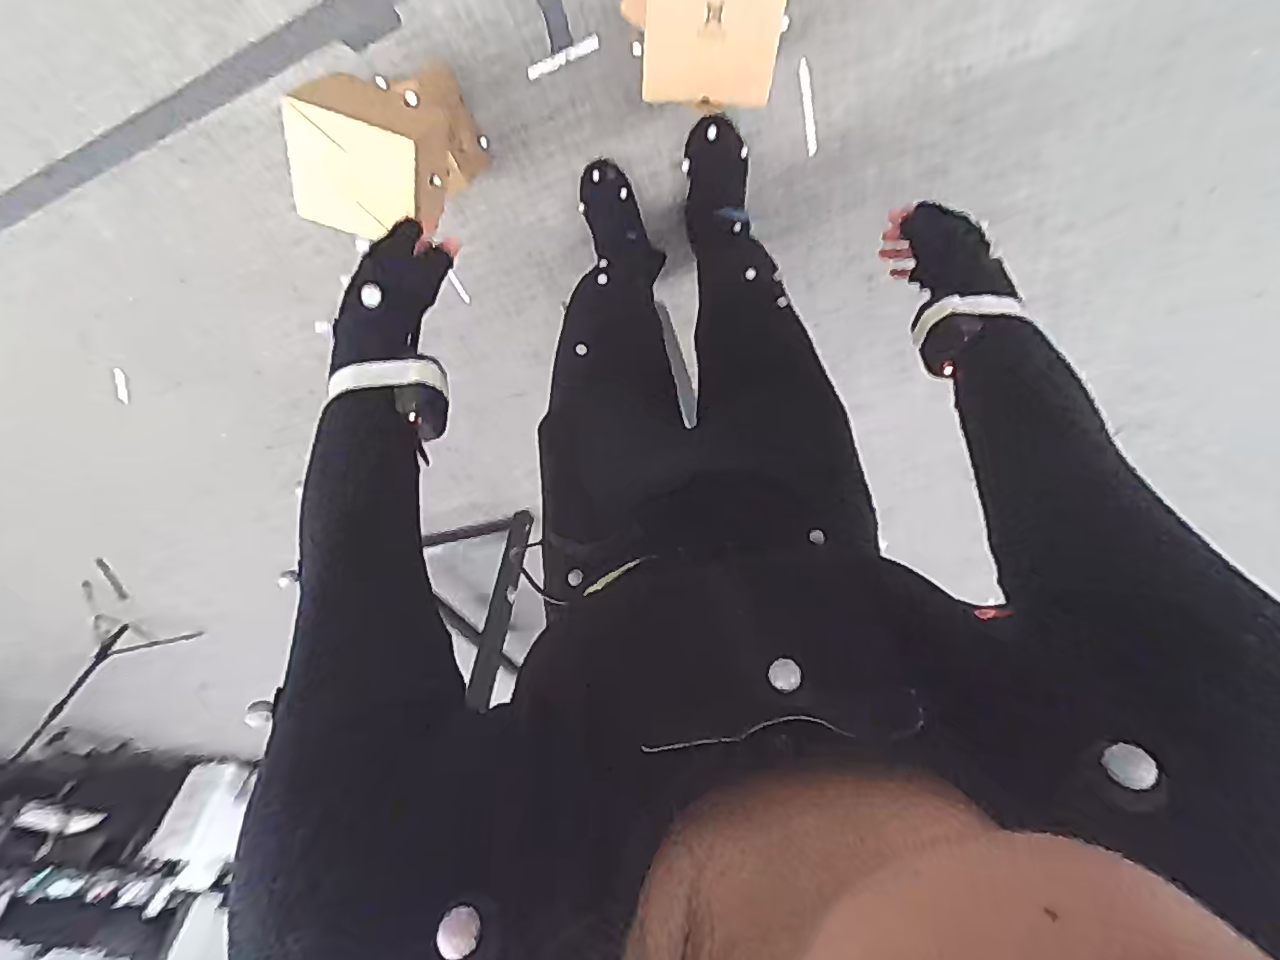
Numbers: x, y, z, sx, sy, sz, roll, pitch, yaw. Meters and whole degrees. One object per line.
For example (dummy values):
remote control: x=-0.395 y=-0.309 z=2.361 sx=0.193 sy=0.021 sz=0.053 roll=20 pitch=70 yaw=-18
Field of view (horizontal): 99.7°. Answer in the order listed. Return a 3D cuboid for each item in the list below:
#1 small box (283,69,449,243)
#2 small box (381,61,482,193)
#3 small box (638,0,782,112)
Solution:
small box: x=-0.414 y=-0.501 z=0.846 sx=0.179 sy=0.176 sz=0.168 roll=14 pitch=135 yaw=-10
small box: x=-0.403 y=-0.615 z=0.969 sx=0.179 sy=0.176 sz=0.168 roll=-10 pitch=135 yaw=15
small box: x=0.087 y=-0.611 z=0.706 sx=0.168 sy=0.176 sz=0.179 roll=3 pitch=137 yaw=-2
